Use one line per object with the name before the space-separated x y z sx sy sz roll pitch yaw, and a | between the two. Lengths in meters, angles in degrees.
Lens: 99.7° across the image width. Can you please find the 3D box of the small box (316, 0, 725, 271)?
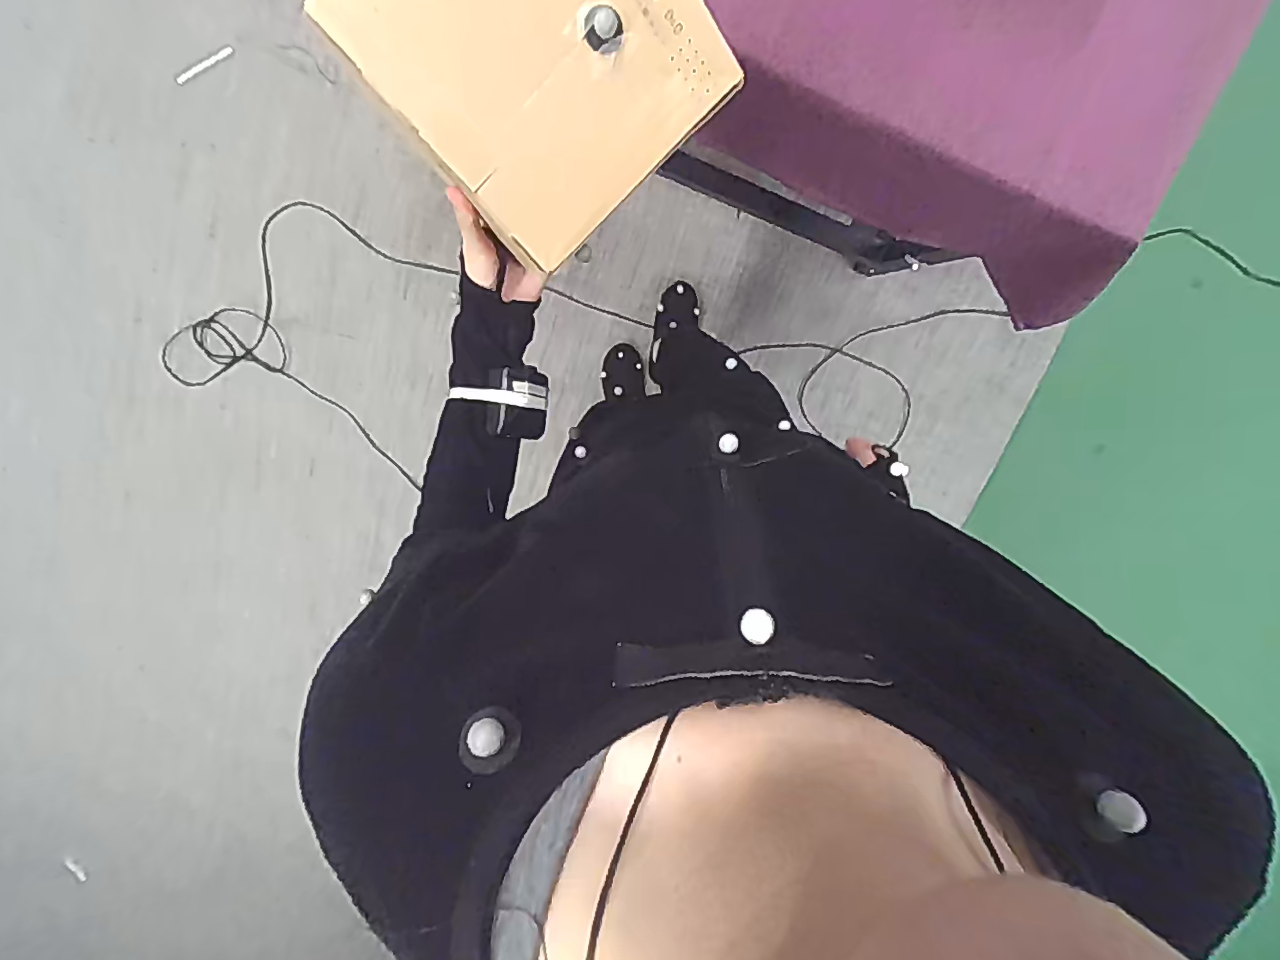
small box | -0.071 -0.269 0.368 0.176 0.179 0.168 -44 116 4
